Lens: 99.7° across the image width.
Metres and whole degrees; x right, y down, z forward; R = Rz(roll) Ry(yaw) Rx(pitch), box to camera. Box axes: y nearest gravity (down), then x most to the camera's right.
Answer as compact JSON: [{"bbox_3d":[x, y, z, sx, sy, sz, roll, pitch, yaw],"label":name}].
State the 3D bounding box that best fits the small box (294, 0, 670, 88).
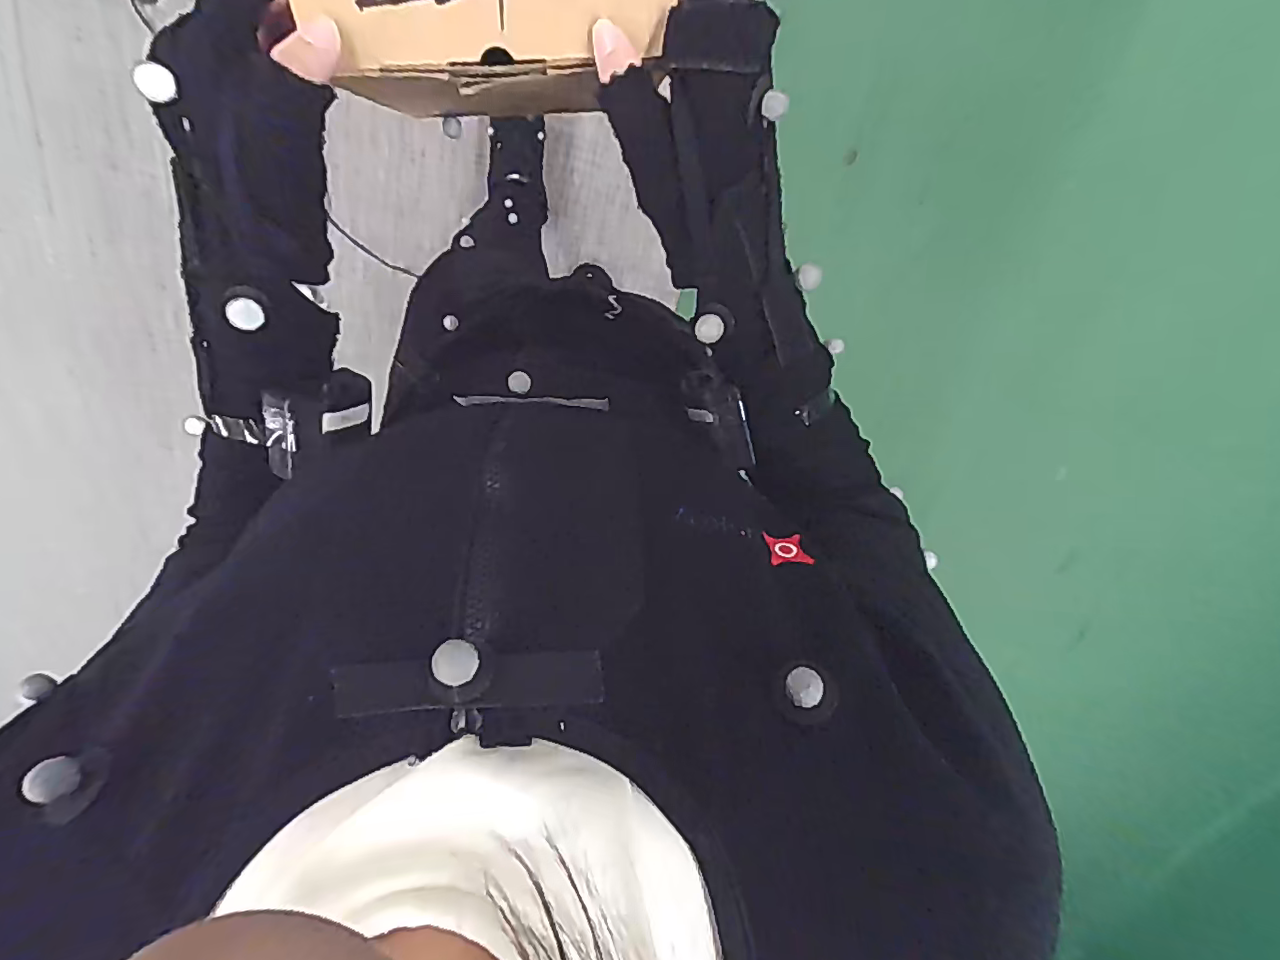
[{"bbox_3d":[-0.075,-0.310,0.268,0.168,0.176,0.179,-5,118,-3],"label":"small box"}]
